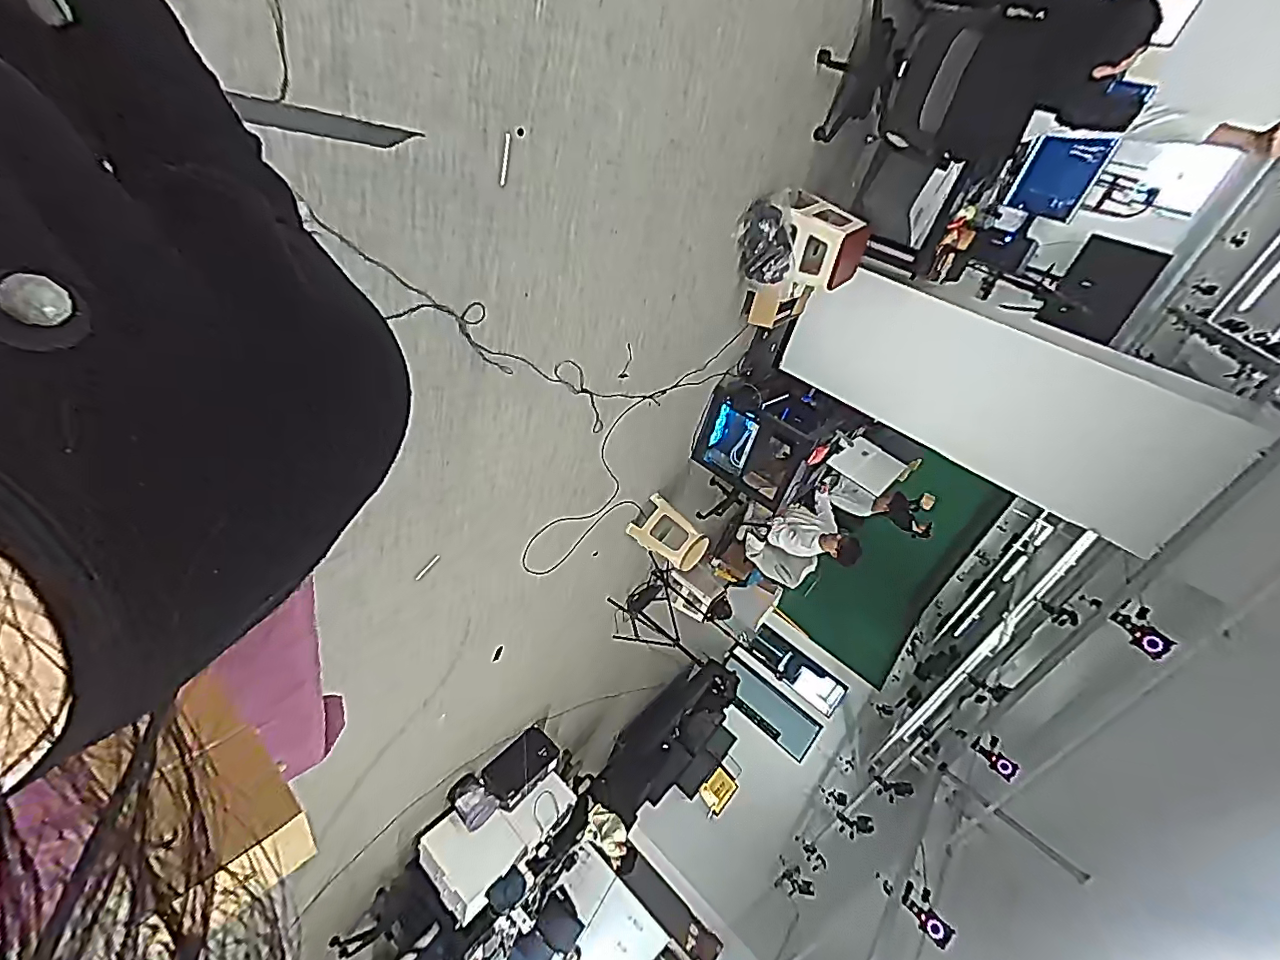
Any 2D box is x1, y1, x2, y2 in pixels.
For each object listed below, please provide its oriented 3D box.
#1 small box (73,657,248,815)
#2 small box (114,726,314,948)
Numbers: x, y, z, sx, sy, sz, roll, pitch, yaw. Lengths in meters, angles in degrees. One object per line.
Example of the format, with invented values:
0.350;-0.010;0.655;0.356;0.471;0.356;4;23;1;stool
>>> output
-0.728;0.416;0.845;0.168;0.176;0.179;-27;144;-45;small box
-0.608;0.502;0.779;0.179;0.176;0.168;-29;147;-44;small box
